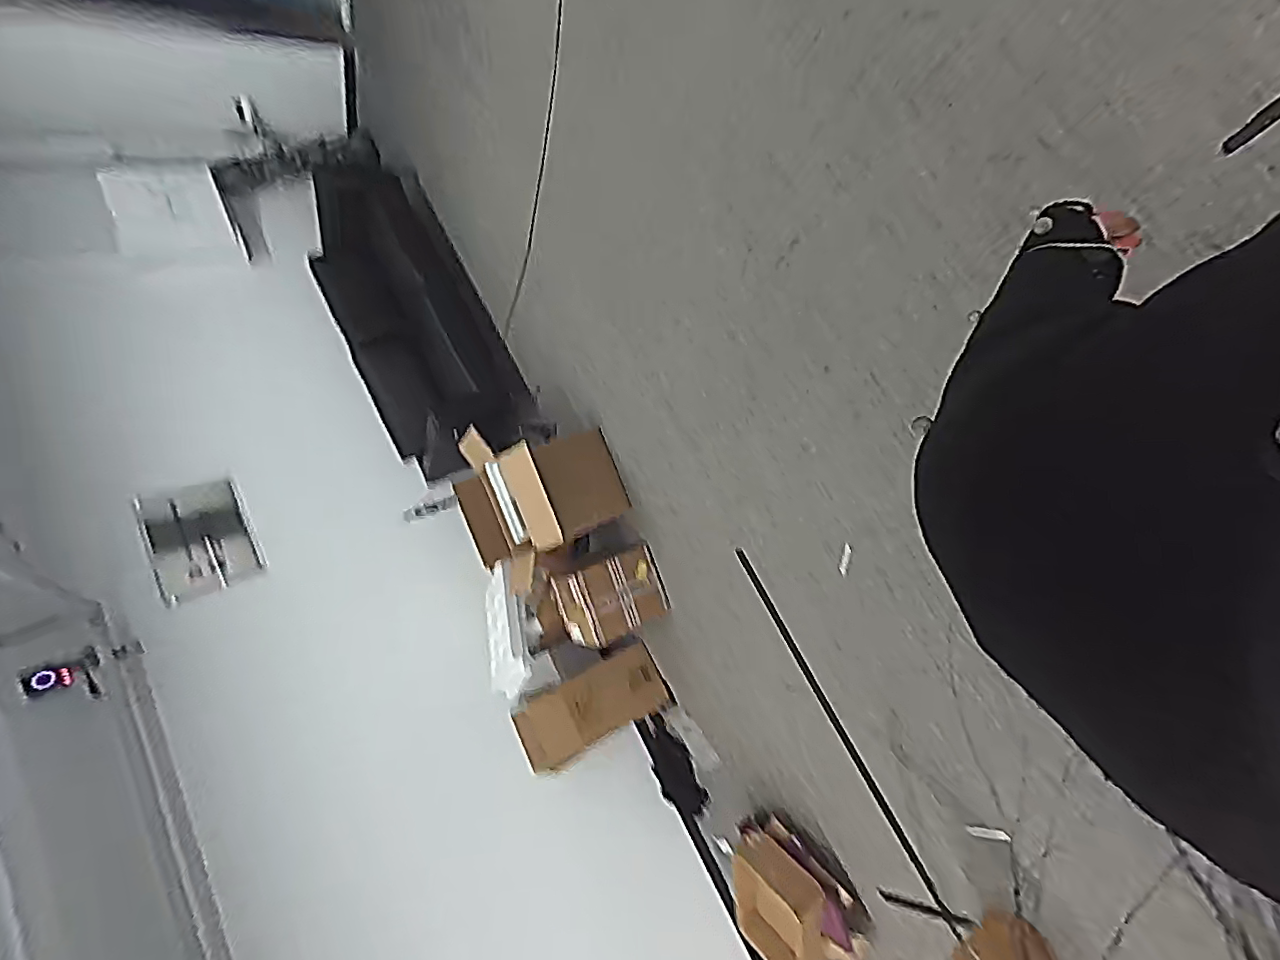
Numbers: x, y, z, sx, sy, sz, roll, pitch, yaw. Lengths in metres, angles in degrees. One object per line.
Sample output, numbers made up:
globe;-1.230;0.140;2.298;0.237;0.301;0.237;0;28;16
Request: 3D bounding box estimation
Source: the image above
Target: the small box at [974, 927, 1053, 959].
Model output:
small box;1.250;1.622;1.767;0.179;0.176;0.168;61;149;13
